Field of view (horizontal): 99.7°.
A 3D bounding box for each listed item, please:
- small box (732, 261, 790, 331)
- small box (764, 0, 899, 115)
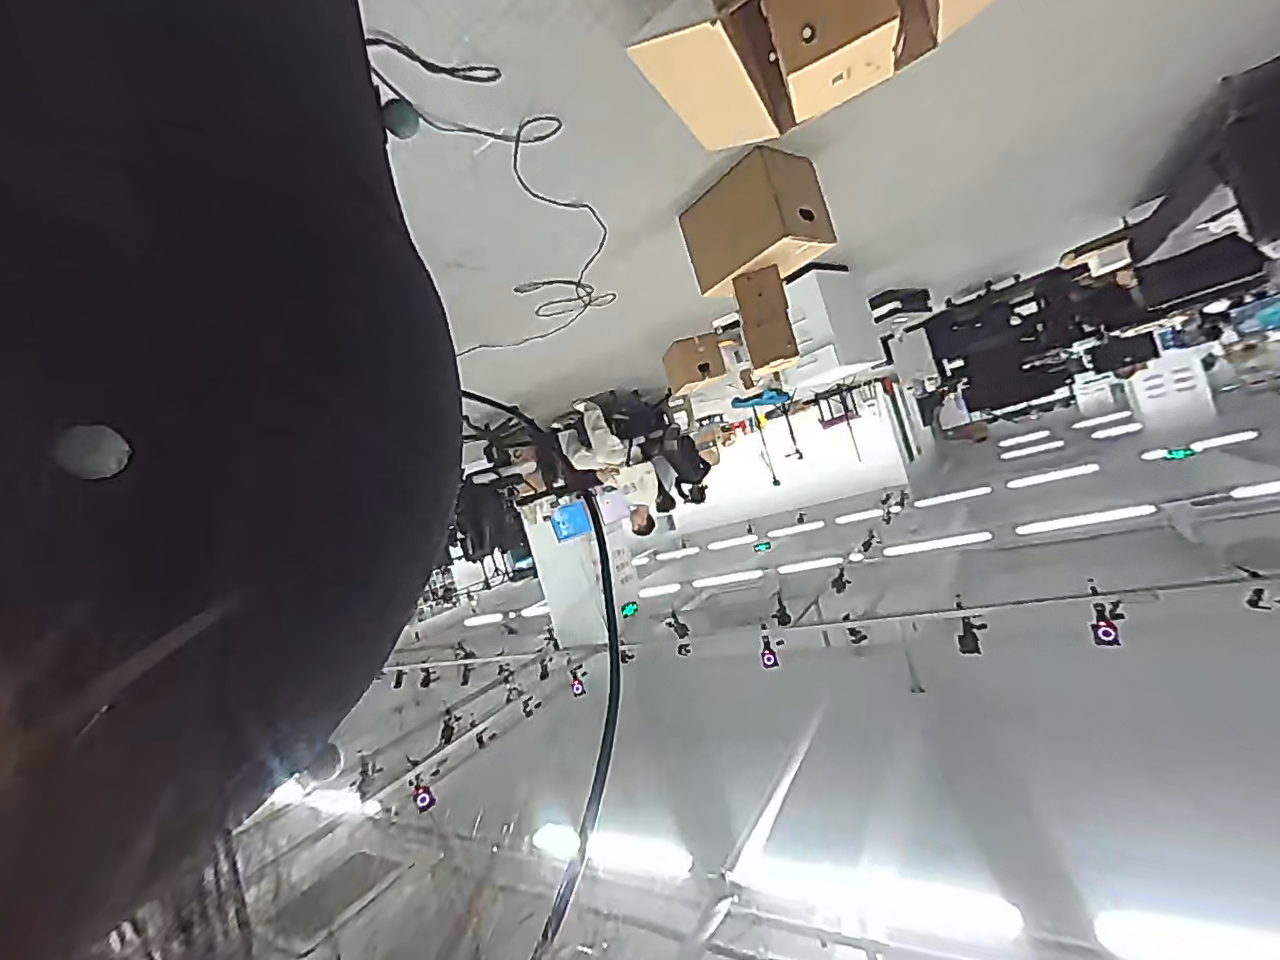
[{"bbox_3d":[0.437,-0.672,1.969,0.168,0.176,0.179,-17,177,12],"label":"small box"},{"bbox_3d":[0.317,-0.779,0.915,0.179,0.176,0.168,-17,-178,23],"label":"small box"}]
